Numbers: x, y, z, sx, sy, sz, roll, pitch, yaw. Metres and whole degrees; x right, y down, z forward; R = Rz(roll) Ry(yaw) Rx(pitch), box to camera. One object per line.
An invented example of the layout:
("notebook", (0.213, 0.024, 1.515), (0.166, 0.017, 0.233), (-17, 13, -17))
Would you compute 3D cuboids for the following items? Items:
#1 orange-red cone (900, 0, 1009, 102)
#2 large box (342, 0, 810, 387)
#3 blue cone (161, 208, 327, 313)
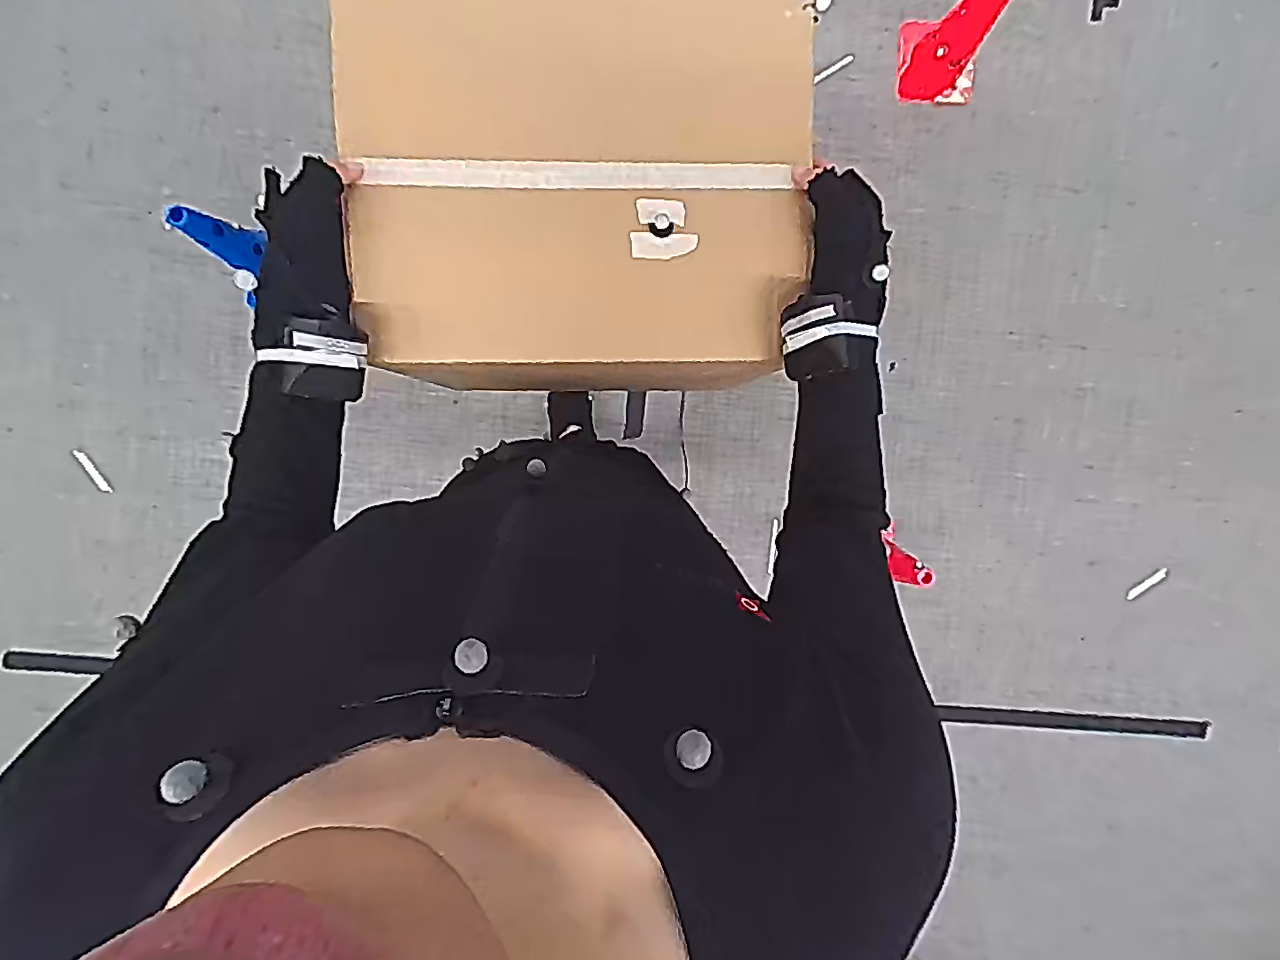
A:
("orange-red cone", (0.789, -1.092, 1.245), (0.198, 0.360, 0.199), (3, 92, -3))
("large box", (-0.059, -0.281, 0.618), (0.408, 0.320, 0.320), (-1, 95, -5))
("blue cone", (-0.907, -0.522, 1.235), (0.192, 0.380, 0.193), (8, 93, -2))
